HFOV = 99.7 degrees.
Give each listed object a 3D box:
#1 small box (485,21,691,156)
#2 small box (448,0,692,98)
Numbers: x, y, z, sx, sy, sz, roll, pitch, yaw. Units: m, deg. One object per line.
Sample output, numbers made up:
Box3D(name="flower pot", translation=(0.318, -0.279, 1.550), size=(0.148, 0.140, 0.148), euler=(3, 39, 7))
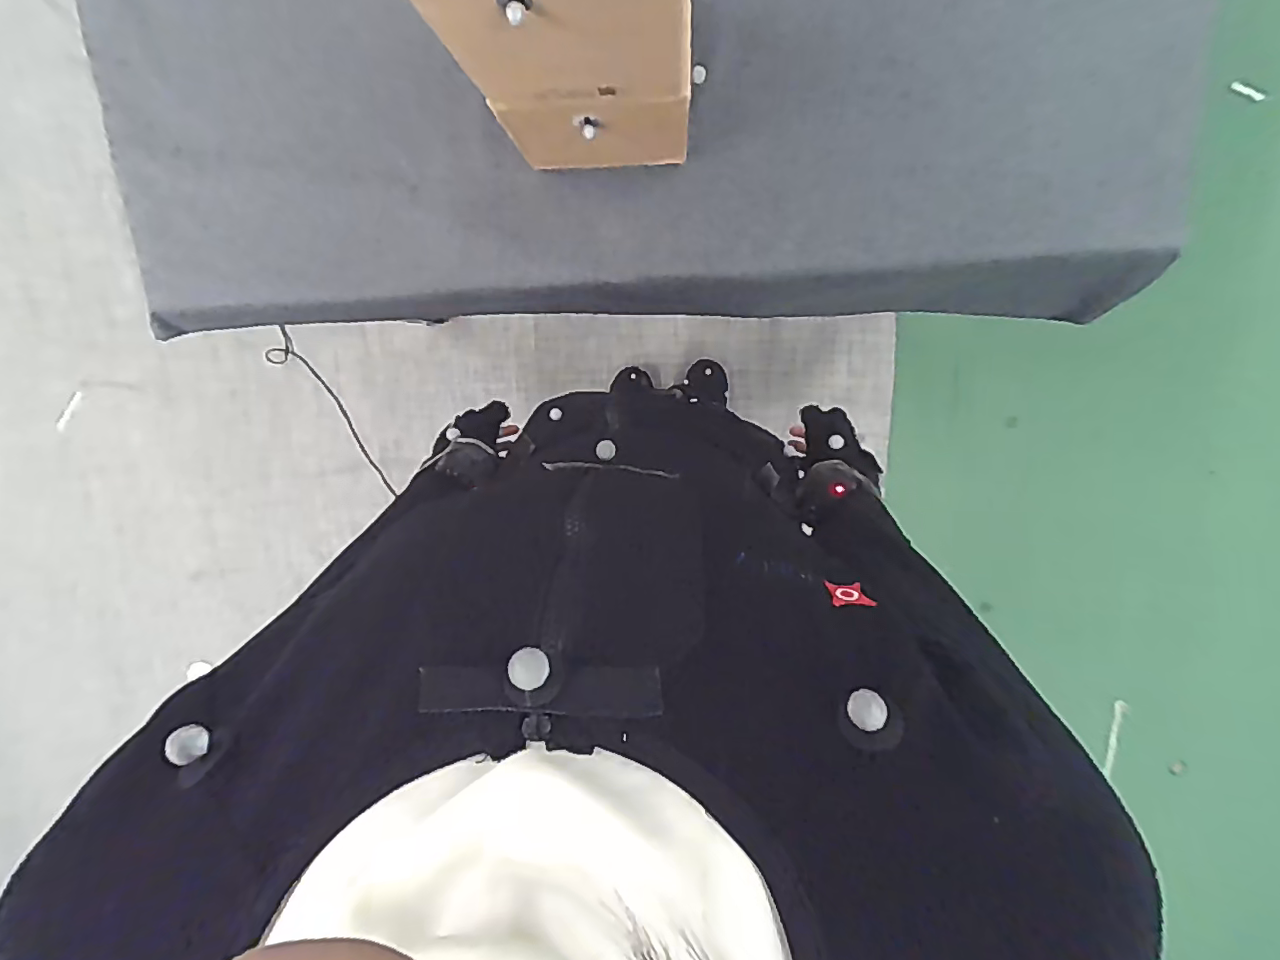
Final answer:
Box3D(name="small box", translation=(-0.040, -0.428, 0.518), size=(0.179, 0.176, 0.168), euler=(0, 104, 3))
Box3D(name="small box", translation=(-0.049, -0.394, 0.361), size=(0.168, 0.176, 0.179), euler=(-1, 104, 4))
